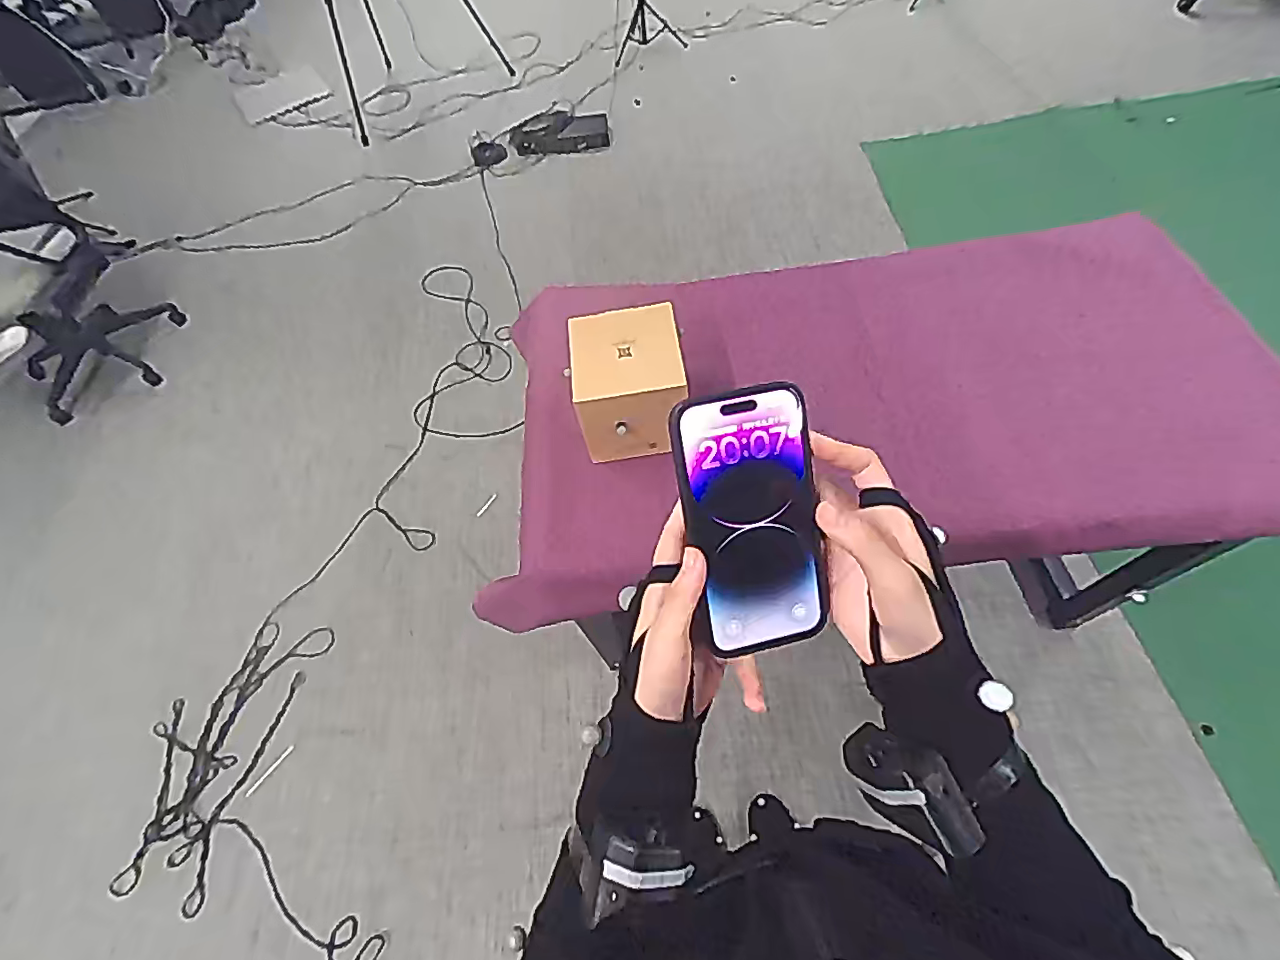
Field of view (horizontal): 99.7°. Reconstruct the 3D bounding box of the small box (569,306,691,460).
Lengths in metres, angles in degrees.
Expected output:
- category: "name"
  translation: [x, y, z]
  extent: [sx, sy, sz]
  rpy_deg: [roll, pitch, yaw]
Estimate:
- category: "small box"
  translation: [-0.013, -0.147, 0.872]
  extent: [0.168, 0.176, 0.179]
  rpy_deg: [-9, 57, 2]
